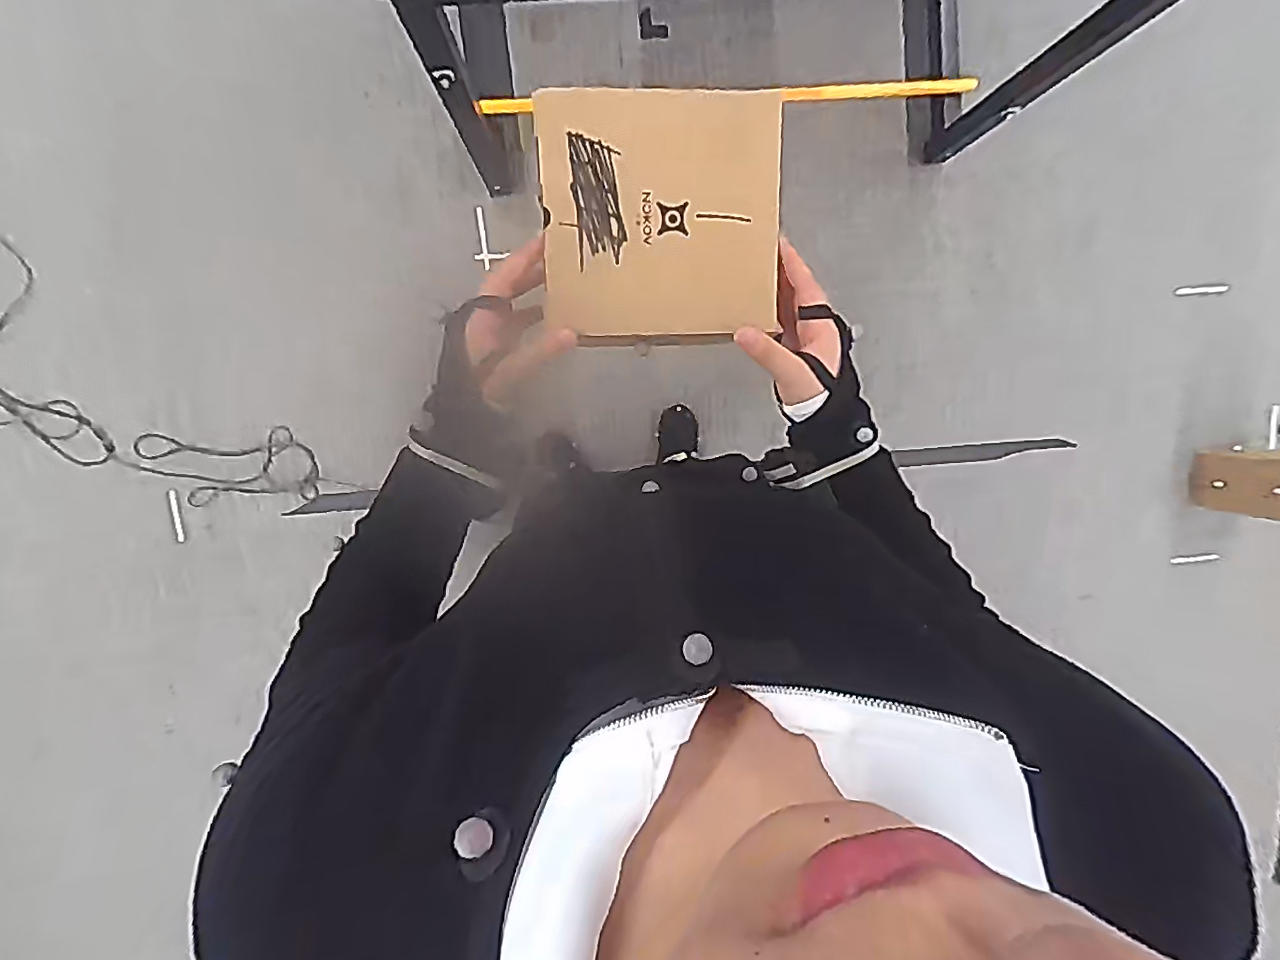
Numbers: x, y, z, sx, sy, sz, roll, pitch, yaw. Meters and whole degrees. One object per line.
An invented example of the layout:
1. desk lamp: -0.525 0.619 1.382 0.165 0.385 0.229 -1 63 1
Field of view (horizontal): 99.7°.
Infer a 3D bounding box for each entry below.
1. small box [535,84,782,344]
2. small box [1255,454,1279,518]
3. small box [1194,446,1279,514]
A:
1. small box: 0.010 -0.208 0.469 0.179 0.176 0.168 -2 101 -4
2. small box: 1.755 0.019 1.379 0.179 0.176 0.168 -4 99 -3
3. small box: 1.751 -0.004 1.543 0.179 0.176 0.168 -5 99 -2
